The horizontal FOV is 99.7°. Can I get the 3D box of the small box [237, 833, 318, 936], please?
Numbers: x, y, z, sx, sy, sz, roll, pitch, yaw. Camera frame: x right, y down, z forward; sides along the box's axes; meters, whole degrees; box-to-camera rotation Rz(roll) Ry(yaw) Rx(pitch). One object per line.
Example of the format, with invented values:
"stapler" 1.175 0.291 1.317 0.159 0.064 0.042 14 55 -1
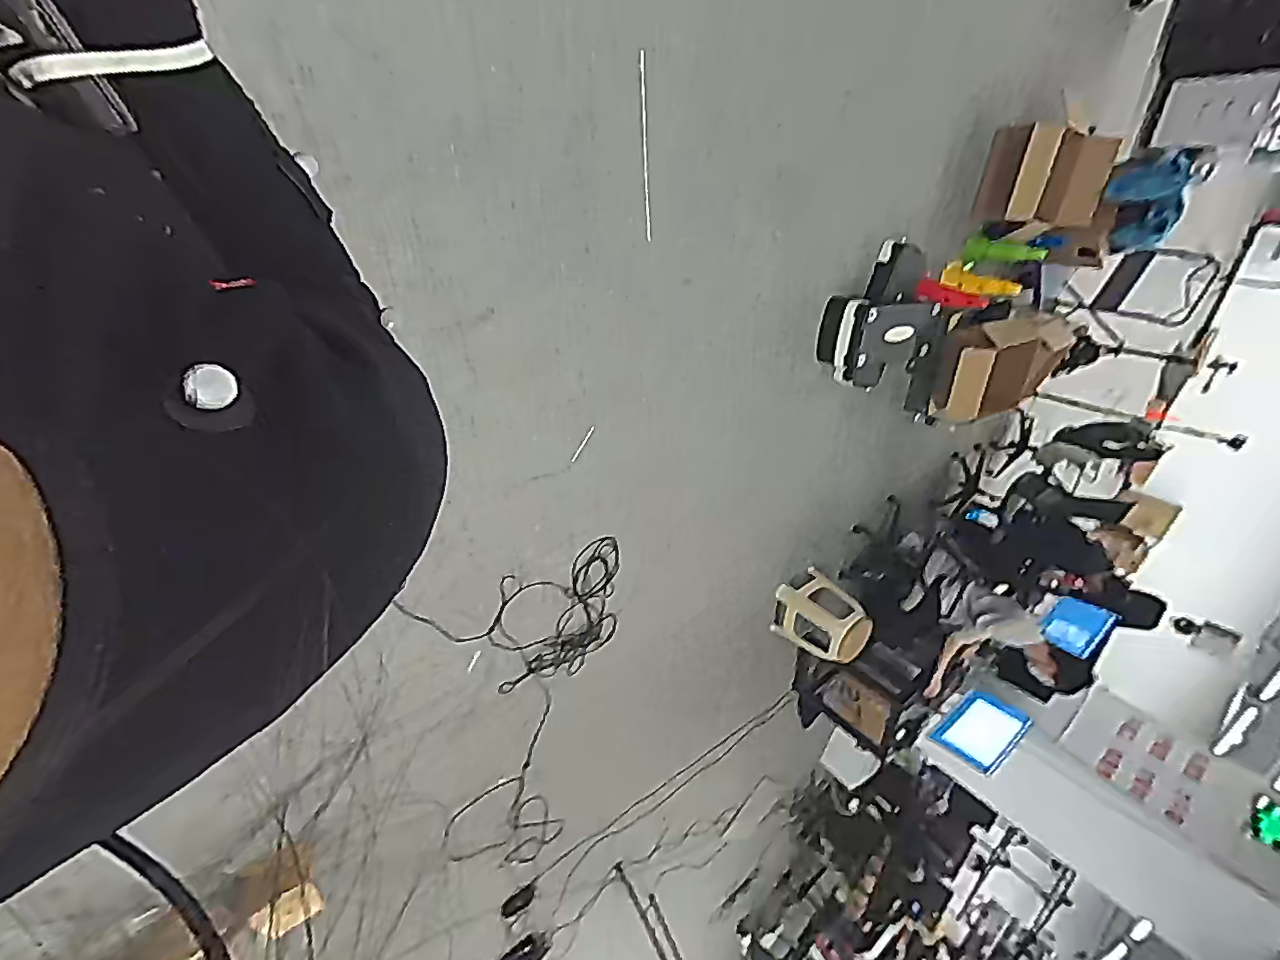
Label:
"small box" -1.159 1.284 1.727 0.168 0.176 0.179 -22 126 -32
